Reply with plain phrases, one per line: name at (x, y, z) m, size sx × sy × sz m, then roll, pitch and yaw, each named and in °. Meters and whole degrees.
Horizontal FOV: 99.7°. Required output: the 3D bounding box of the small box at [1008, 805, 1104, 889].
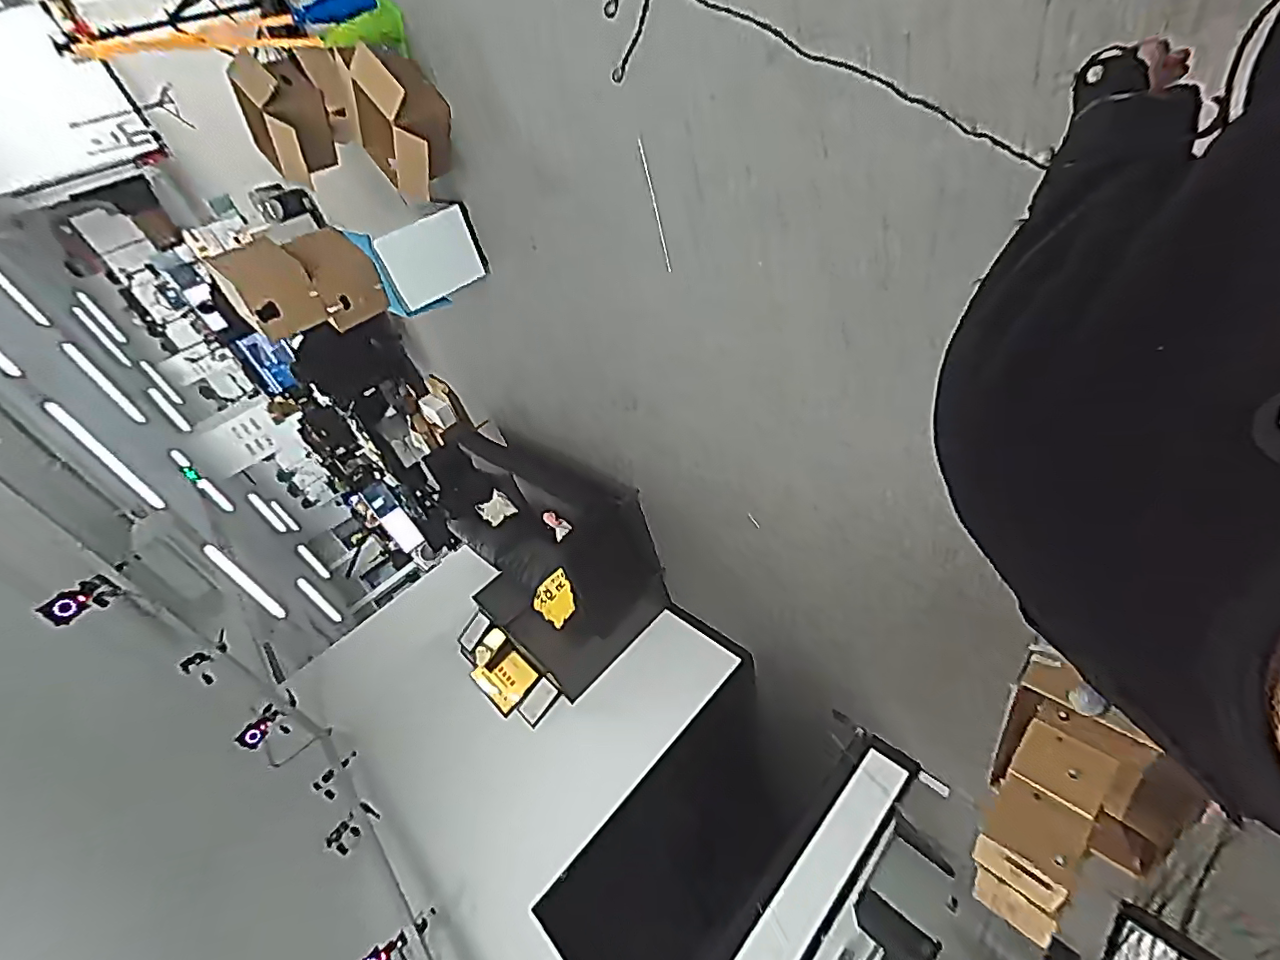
small box at (1.086, 0.906, 1.421) m, size 0.168 × 0.176 × 0.179 m, roll 19°, pitch 138°, yaw 47°

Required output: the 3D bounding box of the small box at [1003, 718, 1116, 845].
small box at (1.008, 0.717, 1.301) m, size 0.168 × 0.176 × 0.179 m, roll 22°, pitch 143°, yaw 44°

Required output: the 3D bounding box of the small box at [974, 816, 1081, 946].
small box at (0.966, 0.990, 1.350) m, size 0.168 × 0.176 × 0.179 m, roll 23°, pitch 140°, yaw 45°
